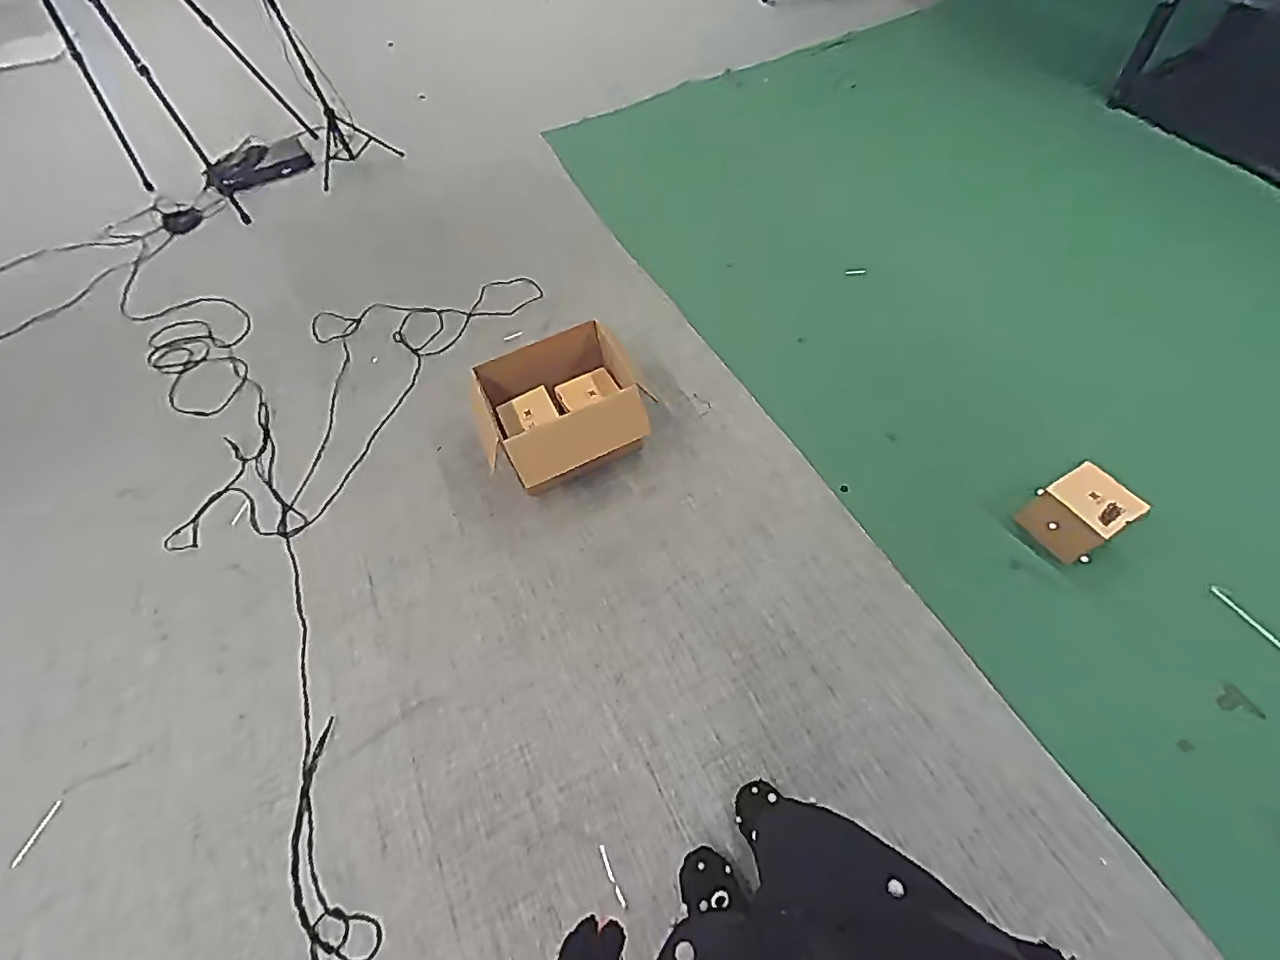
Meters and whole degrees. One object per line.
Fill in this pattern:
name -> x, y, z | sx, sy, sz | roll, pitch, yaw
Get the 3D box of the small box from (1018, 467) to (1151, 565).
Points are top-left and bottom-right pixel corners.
small box -> 1.164, 0.105, 1.431 | 0.168, 0.176, 0.179 | -27, 58, -12
